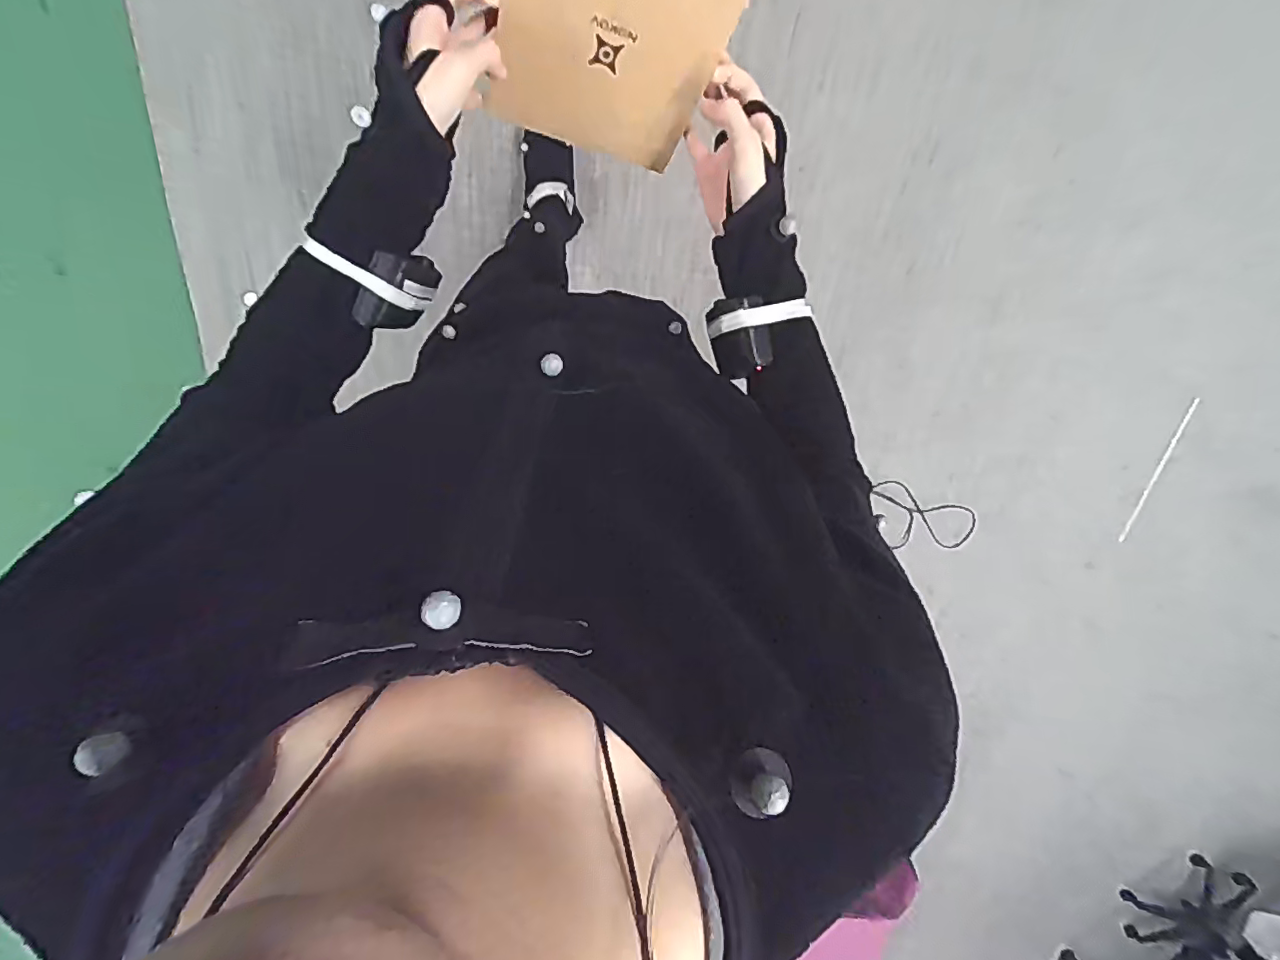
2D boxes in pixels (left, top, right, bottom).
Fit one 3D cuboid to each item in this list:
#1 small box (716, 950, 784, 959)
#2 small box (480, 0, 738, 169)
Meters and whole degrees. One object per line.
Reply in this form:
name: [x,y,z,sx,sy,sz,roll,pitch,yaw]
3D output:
small box: [0.267,1.232,1.258,0.168,0.176,0.179,-1,115,-3]
small box: [-0.027,-0.409,0.439,0.168,0.176,0.179,9,156,-20]
